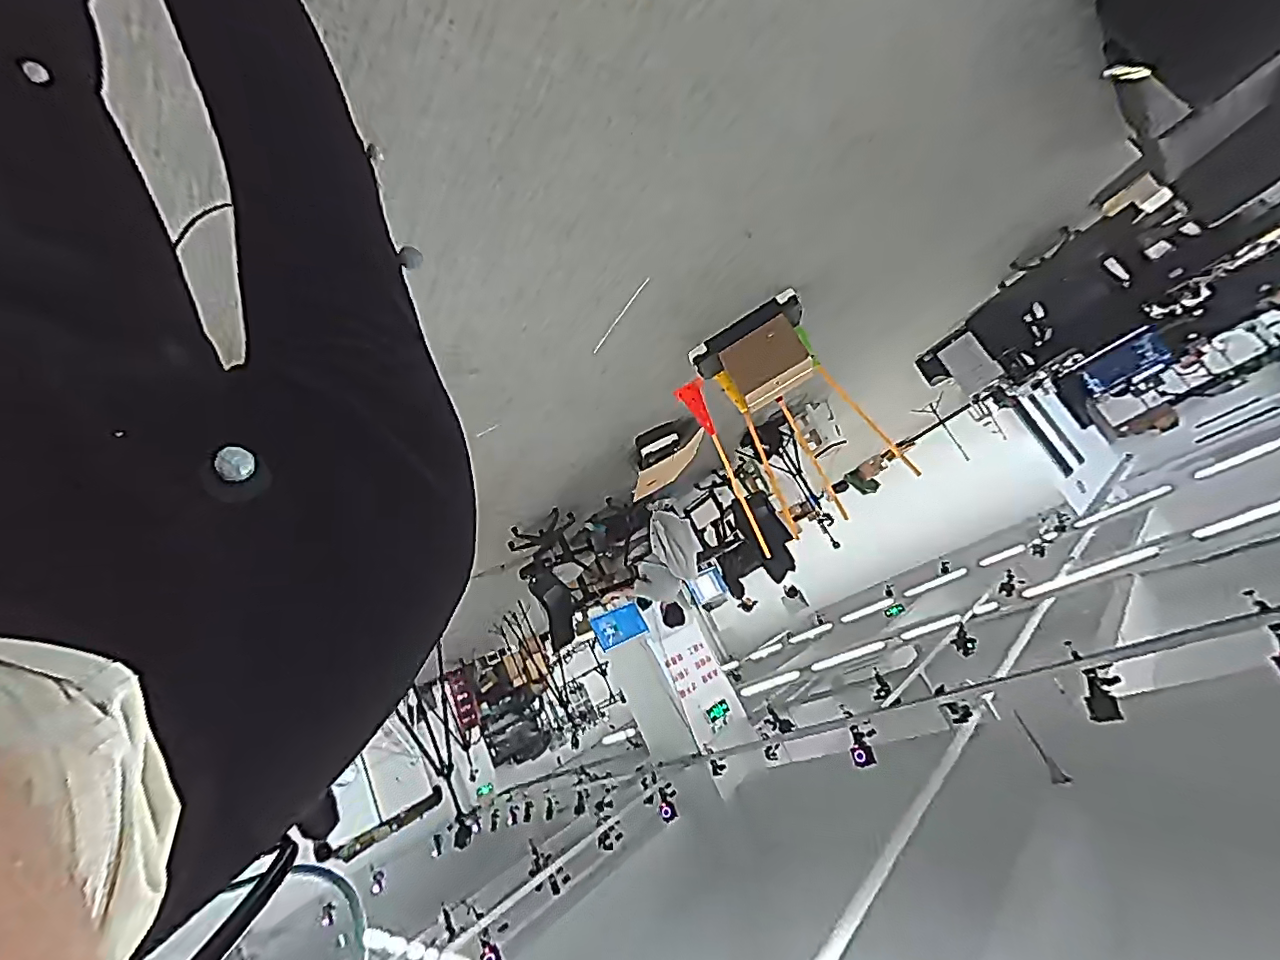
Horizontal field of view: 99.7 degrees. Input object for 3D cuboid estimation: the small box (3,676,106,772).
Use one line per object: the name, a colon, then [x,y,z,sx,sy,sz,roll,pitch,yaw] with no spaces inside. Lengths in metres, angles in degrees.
small box: [-1.561,0.648,1.448,0.168,0.176,0.179,-12,158,-46]
